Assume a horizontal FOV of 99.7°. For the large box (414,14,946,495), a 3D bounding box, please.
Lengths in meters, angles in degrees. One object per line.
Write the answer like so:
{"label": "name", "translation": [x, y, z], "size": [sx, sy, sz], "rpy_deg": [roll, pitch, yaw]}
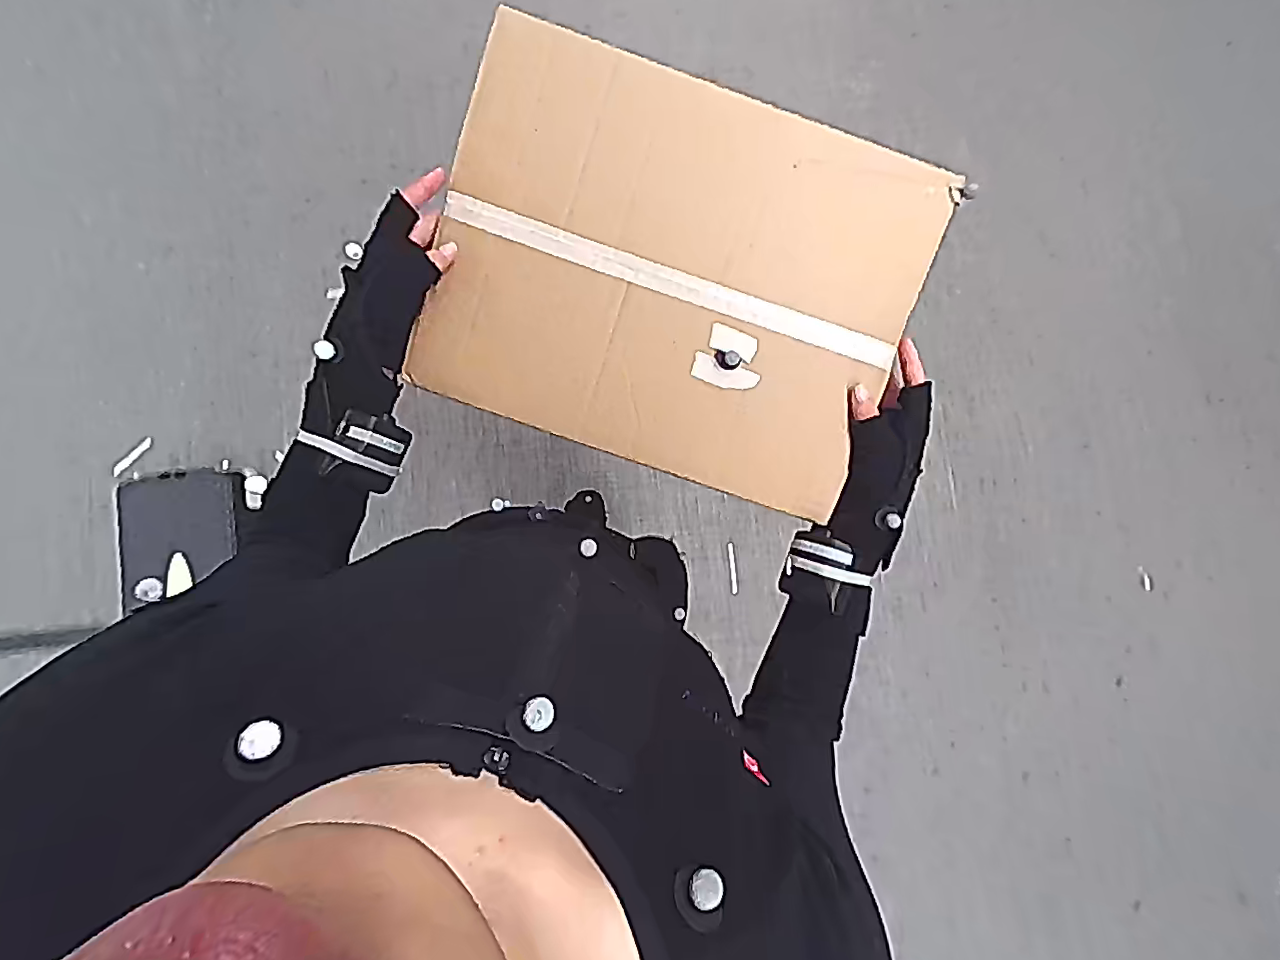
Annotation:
{"label": "large box", "translation": [0.026, -0.205, 0.615], "size": [0.408, 0.320, 0.320], "rpy_deg": [17, 100, -3]}
